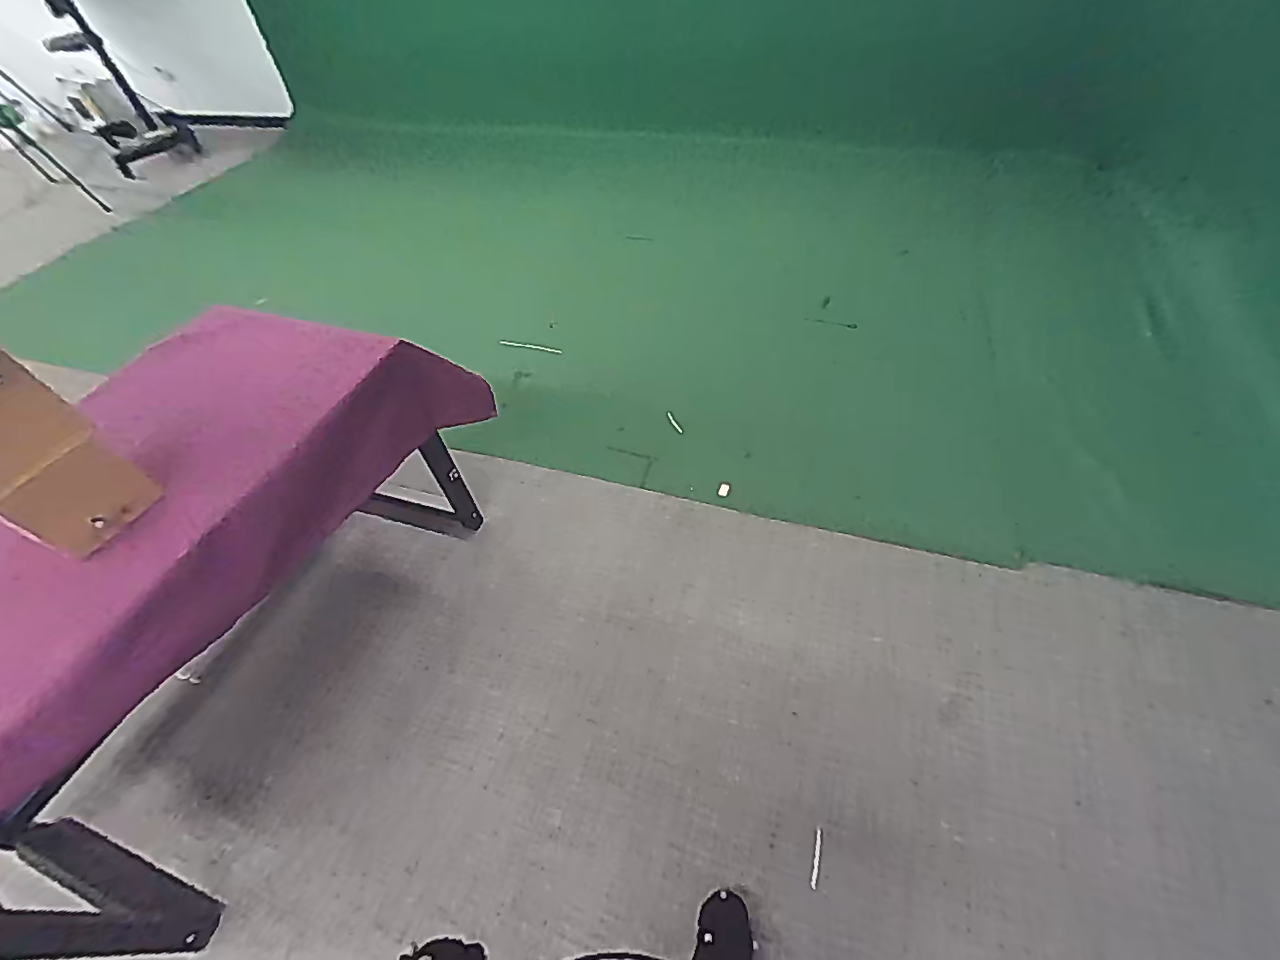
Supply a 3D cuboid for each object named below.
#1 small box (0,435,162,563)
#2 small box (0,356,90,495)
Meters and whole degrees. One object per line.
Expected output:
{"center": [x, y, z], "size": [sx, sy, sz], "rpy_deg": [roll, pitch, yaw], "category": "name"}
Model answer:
{"center": [-0.998, 0.018, 0.925], "size": [0.179, 0.176, 0.168], "rpy_deg": [17, 55, 18], "category": "small box"}
{"center": [-1.010, -0.090, 0.805], "size": [0.168, 0.176, 0.179], "rpy_deg": [15, 54, 17], "category": "small box"}
